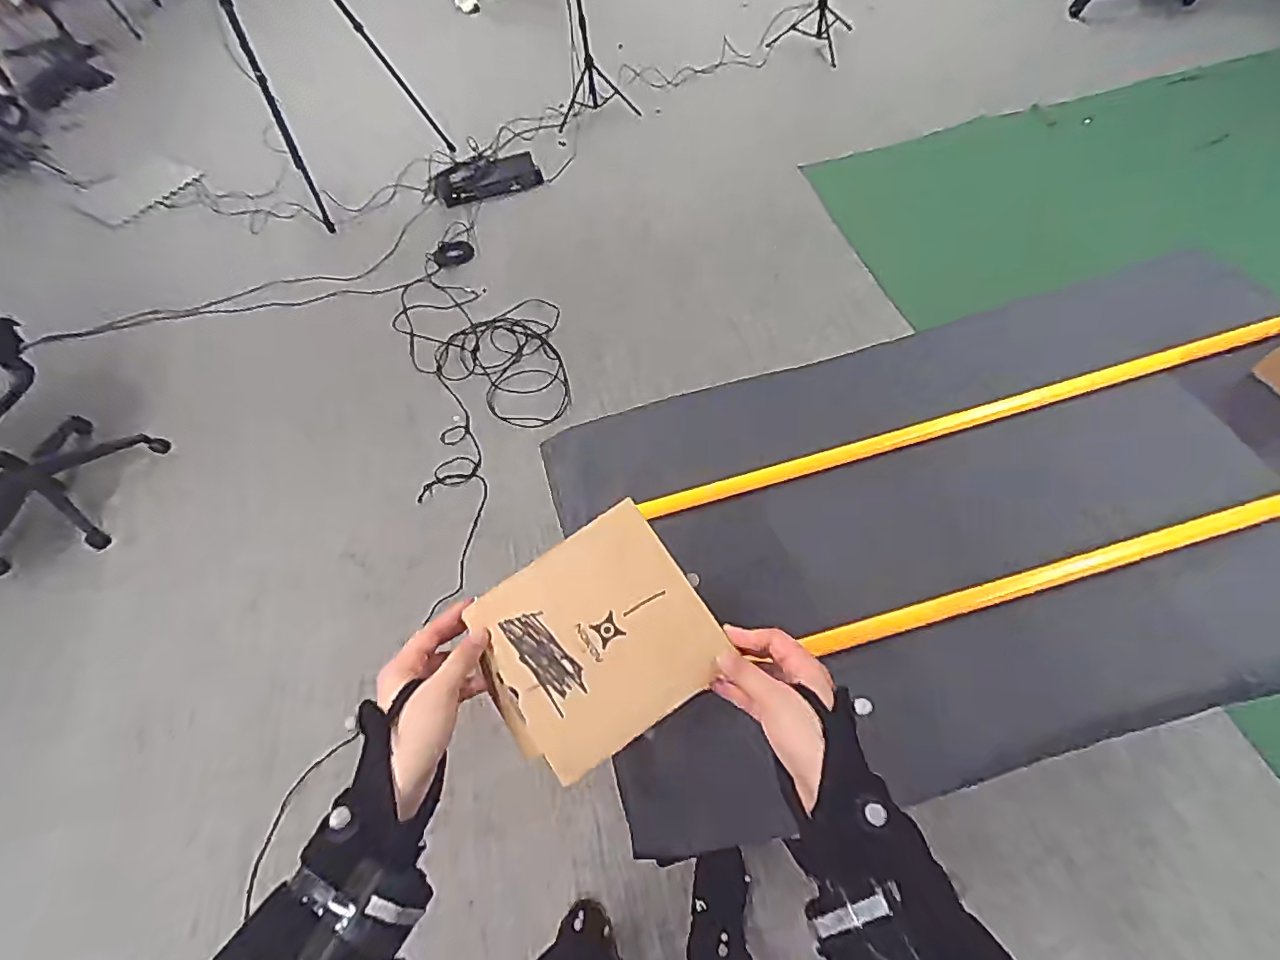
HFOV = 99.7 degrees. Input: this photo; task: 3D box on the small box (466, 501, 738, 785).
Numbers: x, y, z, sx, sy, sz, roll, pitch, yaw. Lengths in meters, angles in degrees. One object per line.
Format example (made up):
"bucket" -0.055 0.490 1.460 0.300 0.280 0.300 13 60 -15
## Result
"small box" -0.030 0.148 0.523 0.179 0.176 0.168 -34 78 -6
